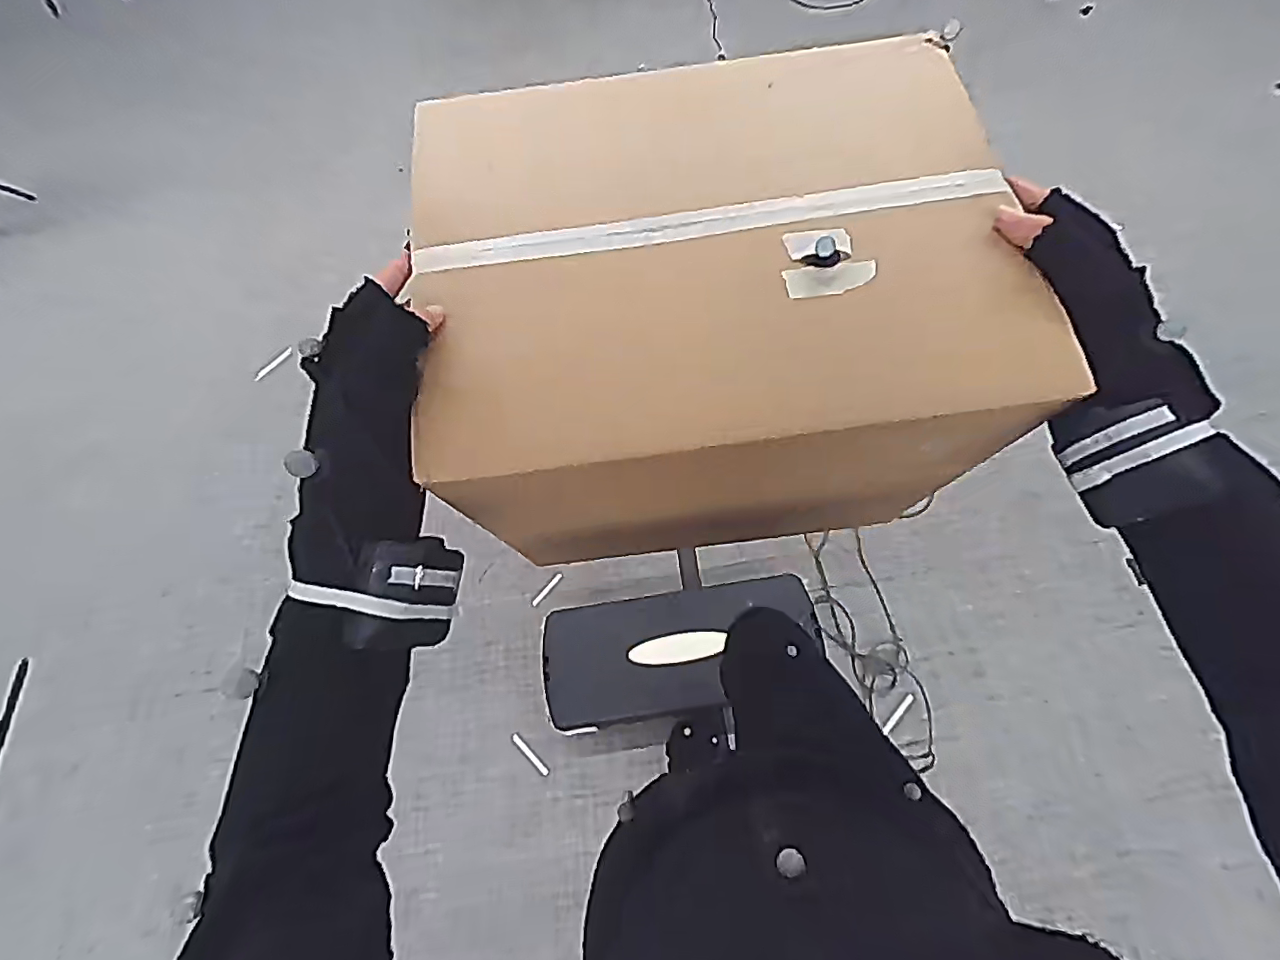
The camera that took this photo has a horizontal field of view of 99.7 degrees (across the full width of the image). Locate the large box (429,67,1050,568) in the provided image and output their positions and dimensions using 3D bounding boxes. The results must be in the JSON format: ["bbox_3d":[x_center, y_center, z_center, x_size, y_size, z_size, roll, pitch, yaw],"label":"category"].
[{"bbox_3d":[0.050,-0.117,0.529,0.408,0.320,0.320,-8,71,0],"label":"large box"}]
